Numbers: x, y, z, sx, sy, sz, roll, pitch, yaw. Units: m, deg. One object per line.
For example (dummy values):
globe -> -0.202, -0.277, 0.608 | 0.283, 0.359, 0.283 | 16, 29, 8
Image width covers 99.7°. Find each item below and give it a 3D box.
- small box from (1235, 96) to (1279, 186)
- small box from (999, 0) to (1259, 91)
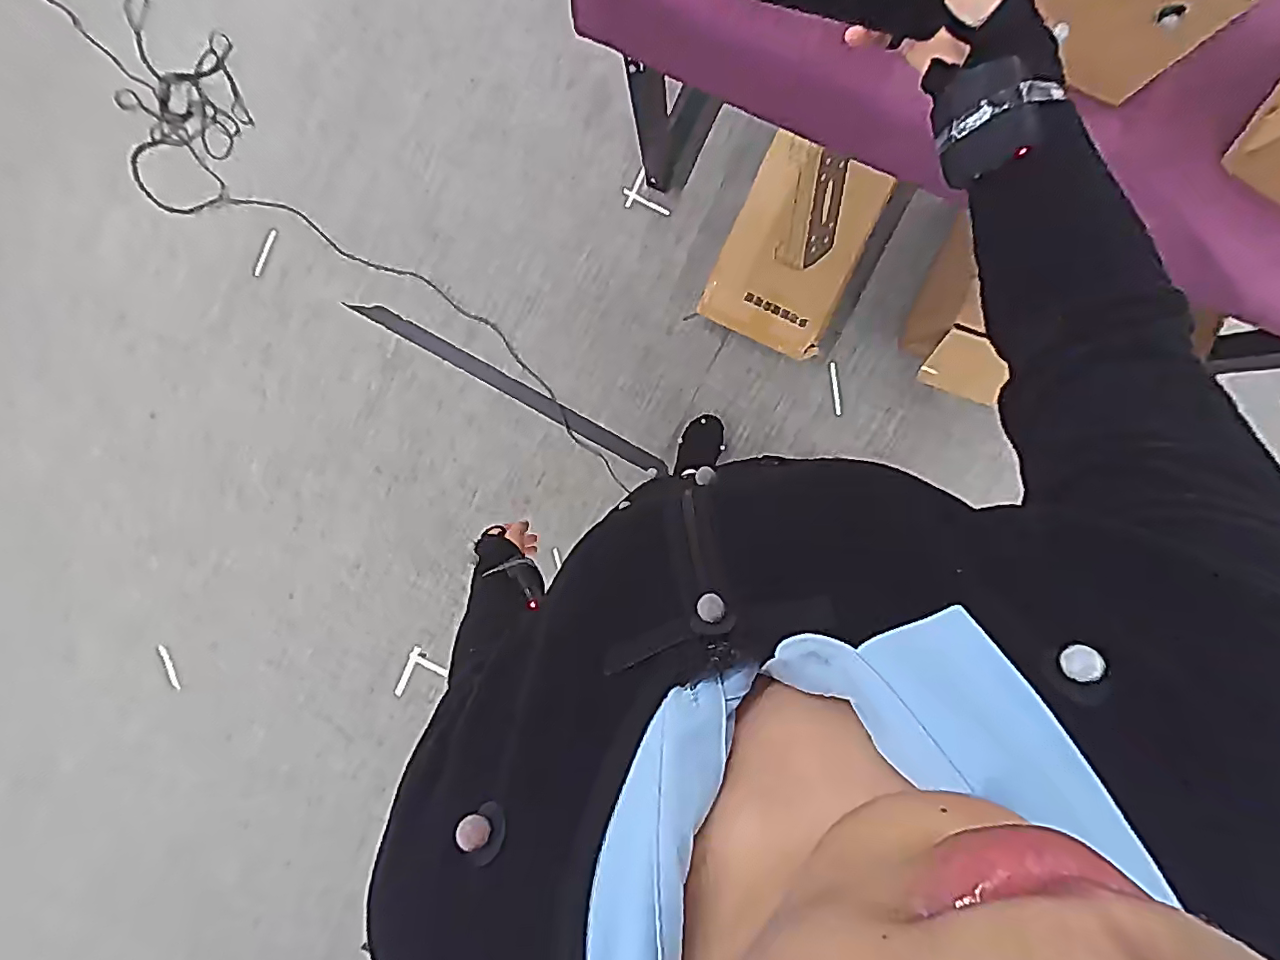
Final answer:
small box -> 0.809, -0.397, 0.558 | 0.179, 0.176, 0.168 | 33, 98, 1
small box -> 0.534, -0.557, 0.564 | 0.179, 0.176, 0.168 | 26, 96, 2
